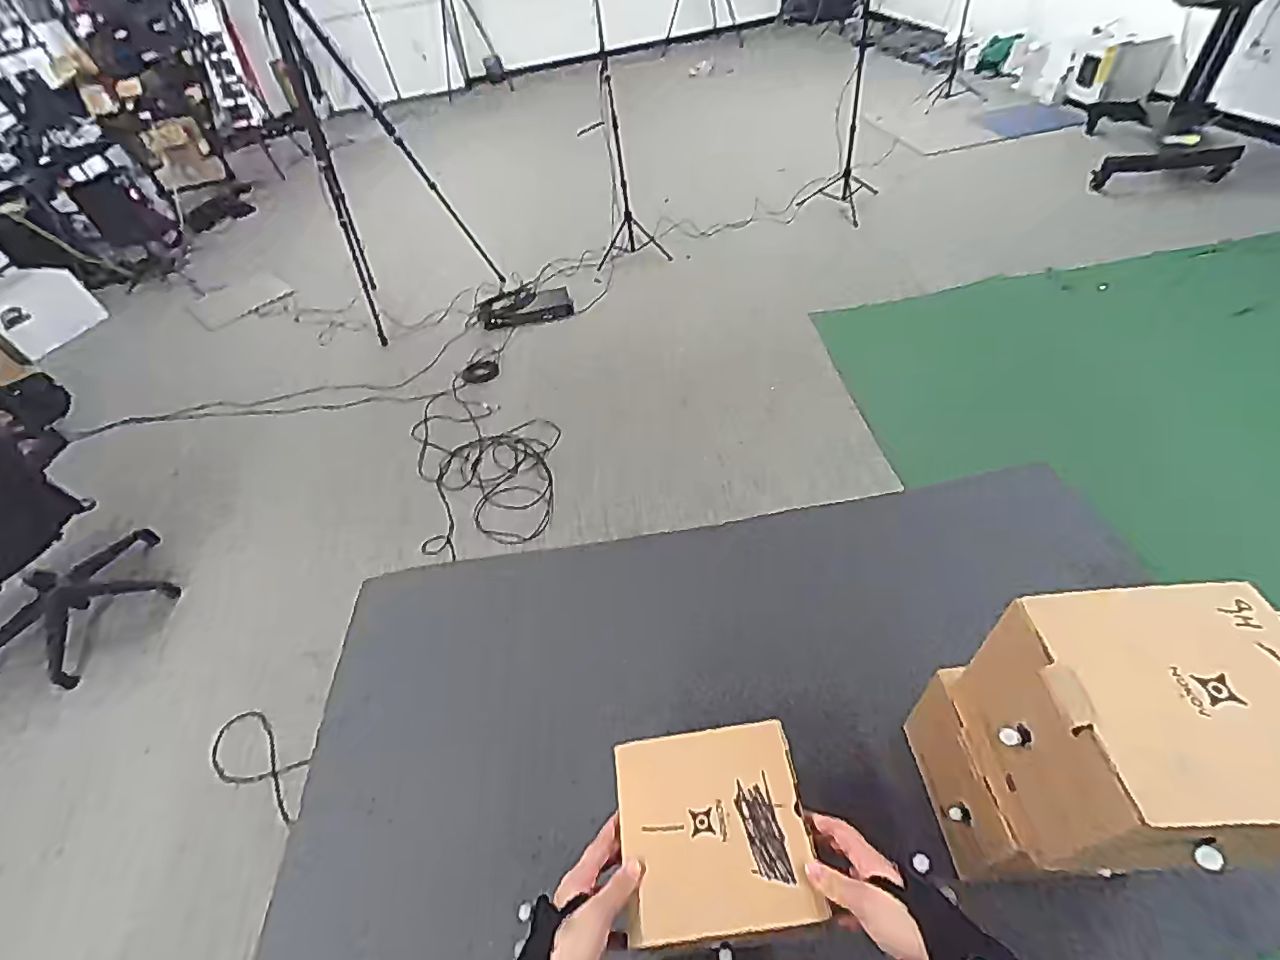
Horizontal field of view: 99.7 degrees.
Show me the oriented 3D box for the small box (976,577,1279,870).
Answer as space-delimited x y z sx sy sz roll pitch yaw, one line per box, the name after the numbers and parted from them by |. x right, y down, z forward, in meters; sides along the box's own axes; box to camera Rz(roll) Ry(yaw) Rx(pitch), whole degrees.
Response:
0.397 0.196 0.427 0.179 0.176 0.168 -6 47 6 | small box

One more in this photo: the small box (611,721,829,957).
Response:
0.074 0.369 0.553 0.179 0.176 0.168 -11 45 3 | small box

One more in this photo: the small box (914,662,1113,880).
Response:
0.406 0.298 0.557 0.179 0.176 0.168 -7 47 3 | small box
